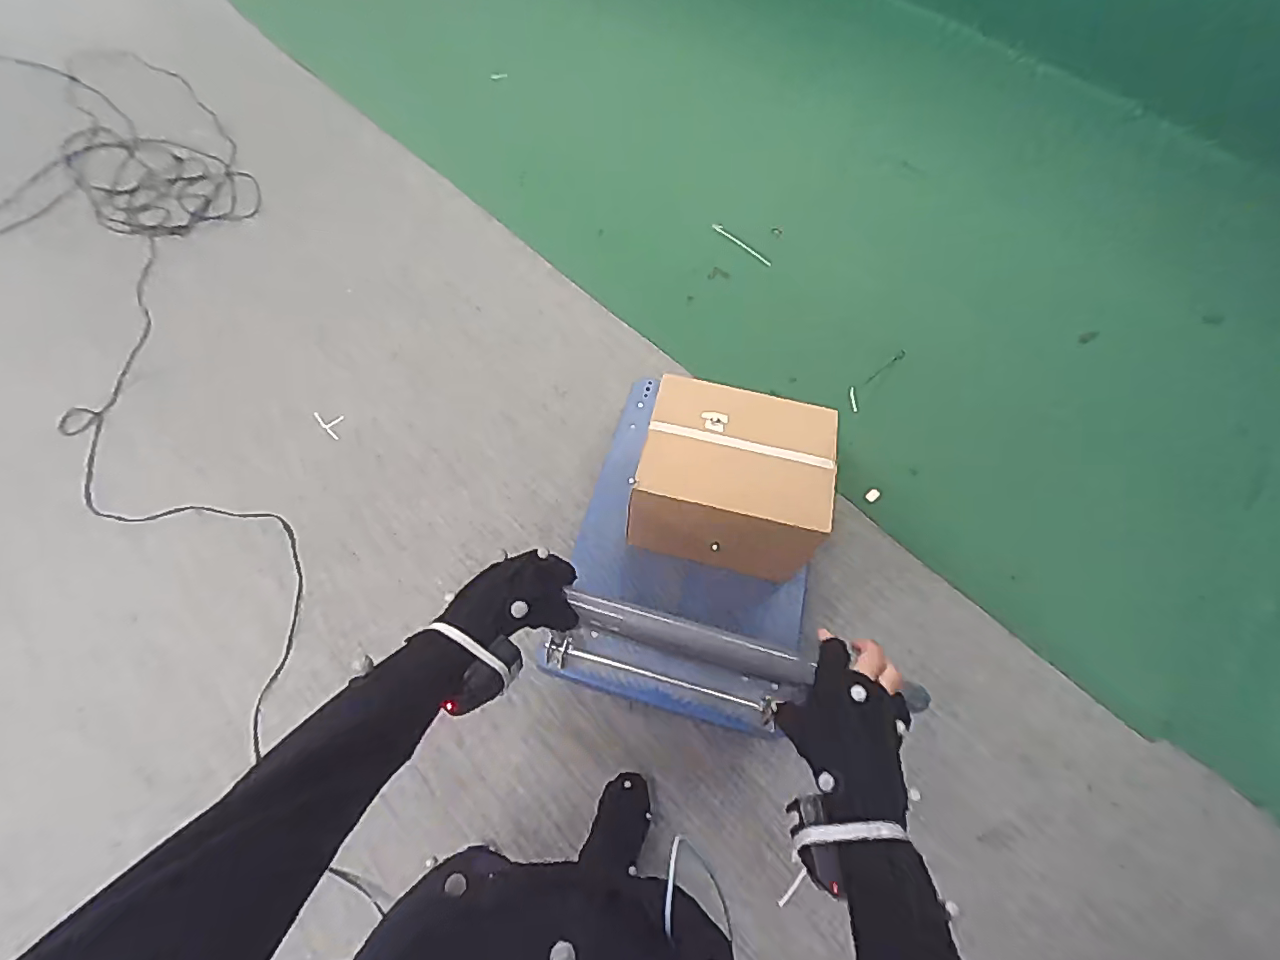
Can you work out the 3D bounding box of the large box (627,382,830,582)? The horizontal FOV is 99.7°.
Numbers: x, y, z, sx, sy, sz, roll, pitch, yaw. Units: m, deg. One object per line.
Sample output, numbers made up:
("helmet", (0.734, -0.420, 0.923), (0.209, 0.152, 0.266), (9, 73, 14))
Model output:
("large box", (0.200, 0.016, 1.286), (0.408, 0.320, 0.320), (13, 60, 3))
